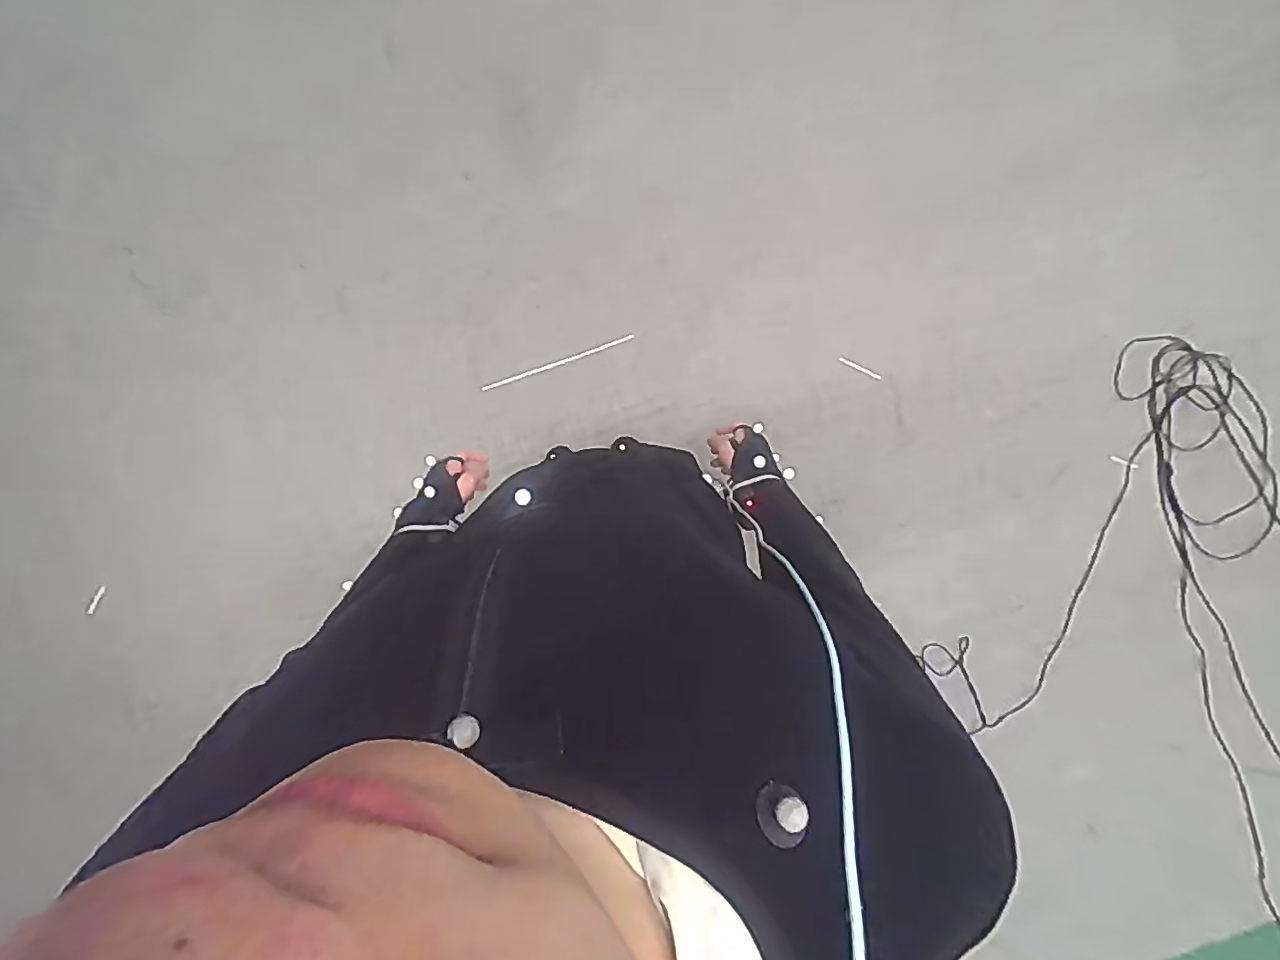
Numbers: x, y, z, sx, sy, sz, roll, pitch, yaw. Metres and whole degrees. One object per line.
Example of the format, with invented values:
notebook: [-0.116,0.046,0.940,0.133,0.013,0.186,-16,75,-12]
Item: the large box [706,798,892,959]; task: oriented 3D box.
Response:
large box: [0.447,1.231,1.593,0.408,0.320,0.320,-21,93,1]
